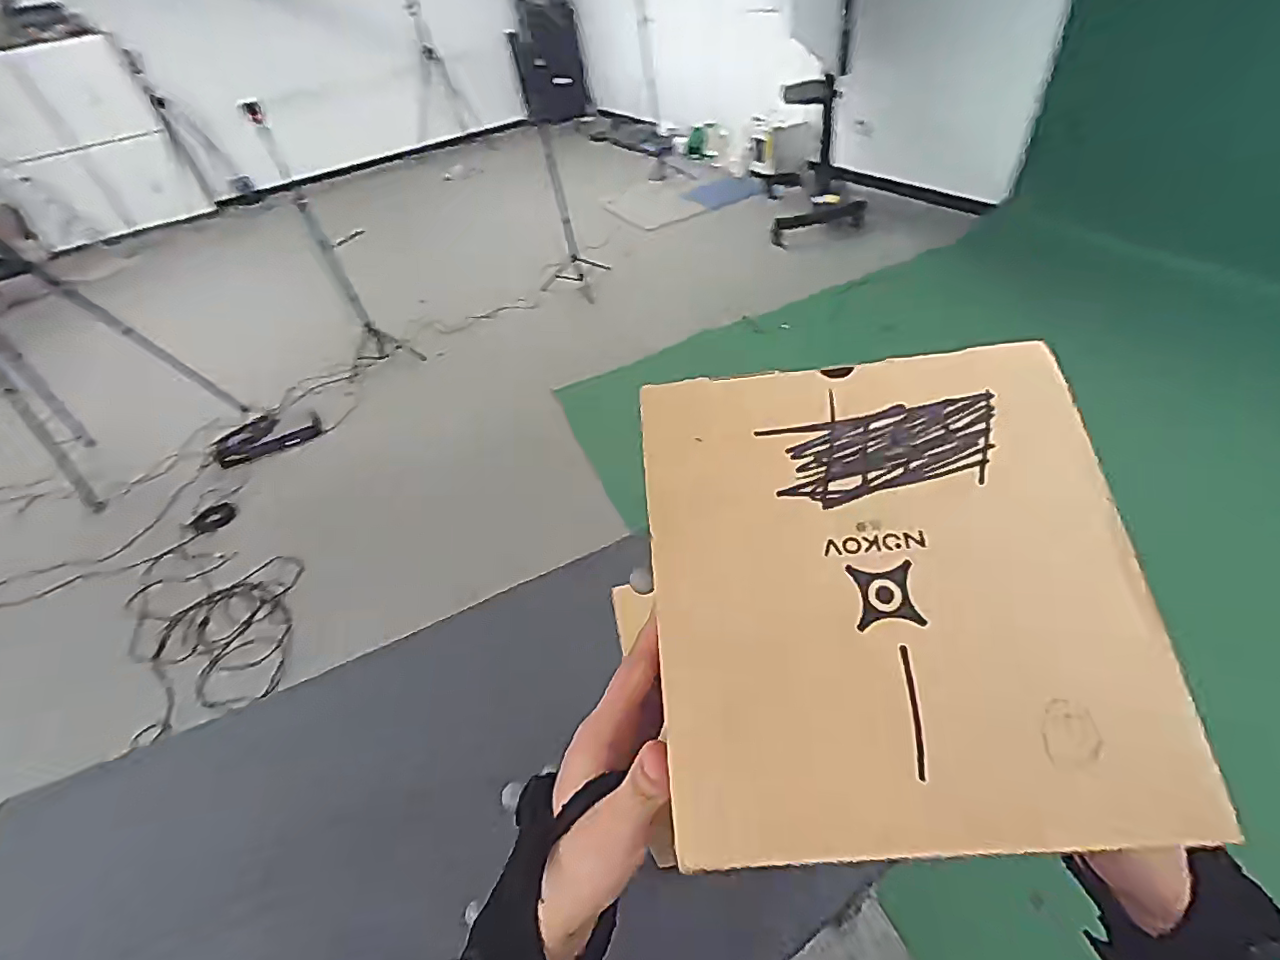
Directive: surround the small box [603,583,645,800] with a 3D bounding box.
[{"bbox_3d":[0.069,0.205,0.523,0.168,0.176,0.179,-13,41,-2],"label":"small box"}]
